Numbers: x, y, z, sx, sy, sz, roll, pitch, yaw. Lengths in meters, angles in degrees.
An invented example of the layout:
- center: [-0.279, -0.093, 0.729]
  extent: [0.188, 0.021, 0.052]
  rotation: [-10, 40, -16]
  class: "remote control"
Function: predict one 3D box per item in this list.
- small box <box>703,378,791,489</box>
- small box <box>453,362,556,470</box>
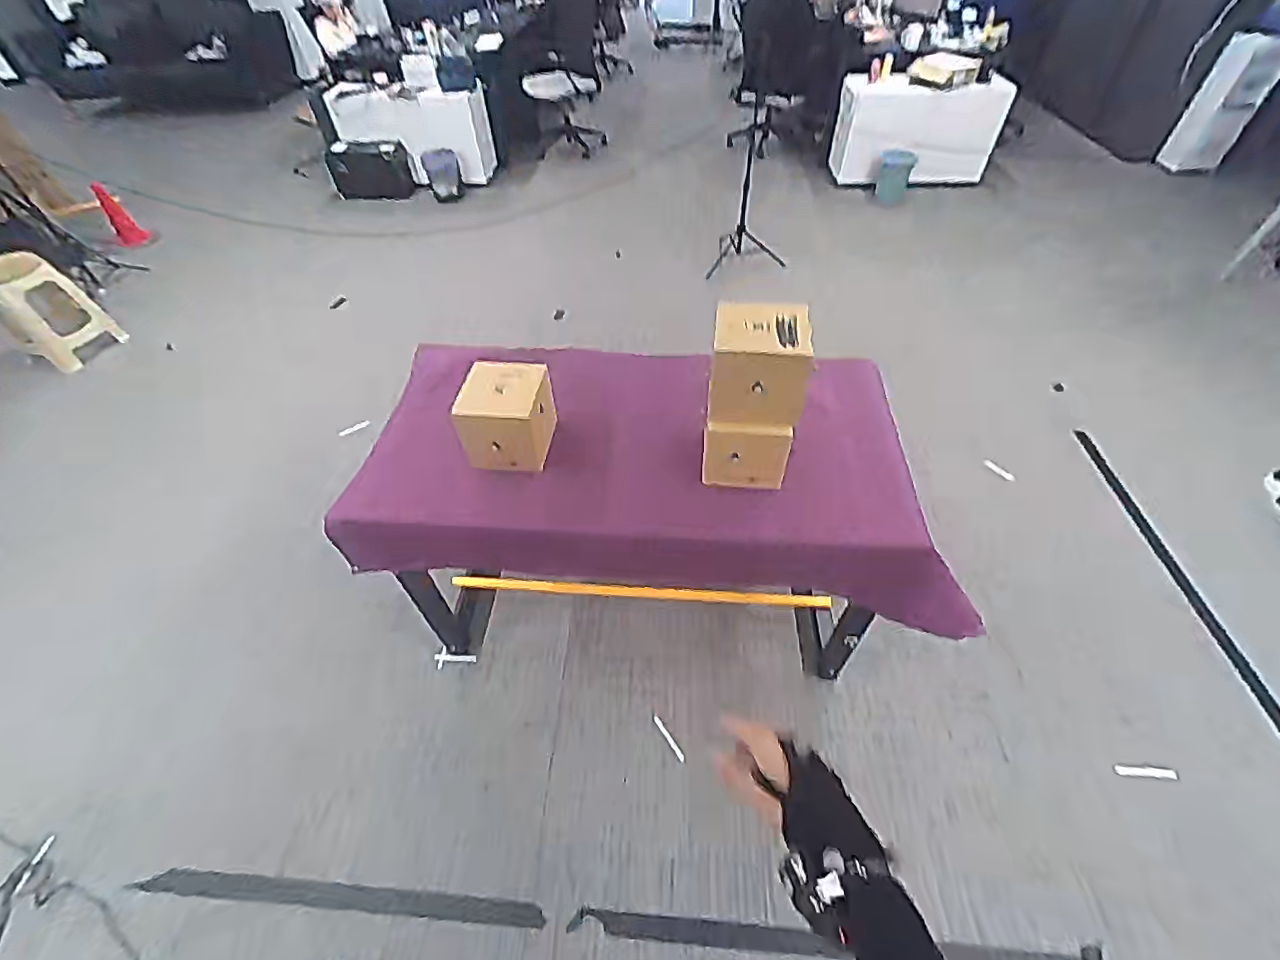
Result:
- center: [0.225, -0.097, 1.164]
  extent: [0.168, 0.176, 0.179]
  rotation: [4, 48, 5]
  class: "small box"
- center: [-0.291, -0.140, 1.211]
  extent: [0.168, 0.176, 0.179]
  rotation: [5, 49, 5]
  class: "small box"
